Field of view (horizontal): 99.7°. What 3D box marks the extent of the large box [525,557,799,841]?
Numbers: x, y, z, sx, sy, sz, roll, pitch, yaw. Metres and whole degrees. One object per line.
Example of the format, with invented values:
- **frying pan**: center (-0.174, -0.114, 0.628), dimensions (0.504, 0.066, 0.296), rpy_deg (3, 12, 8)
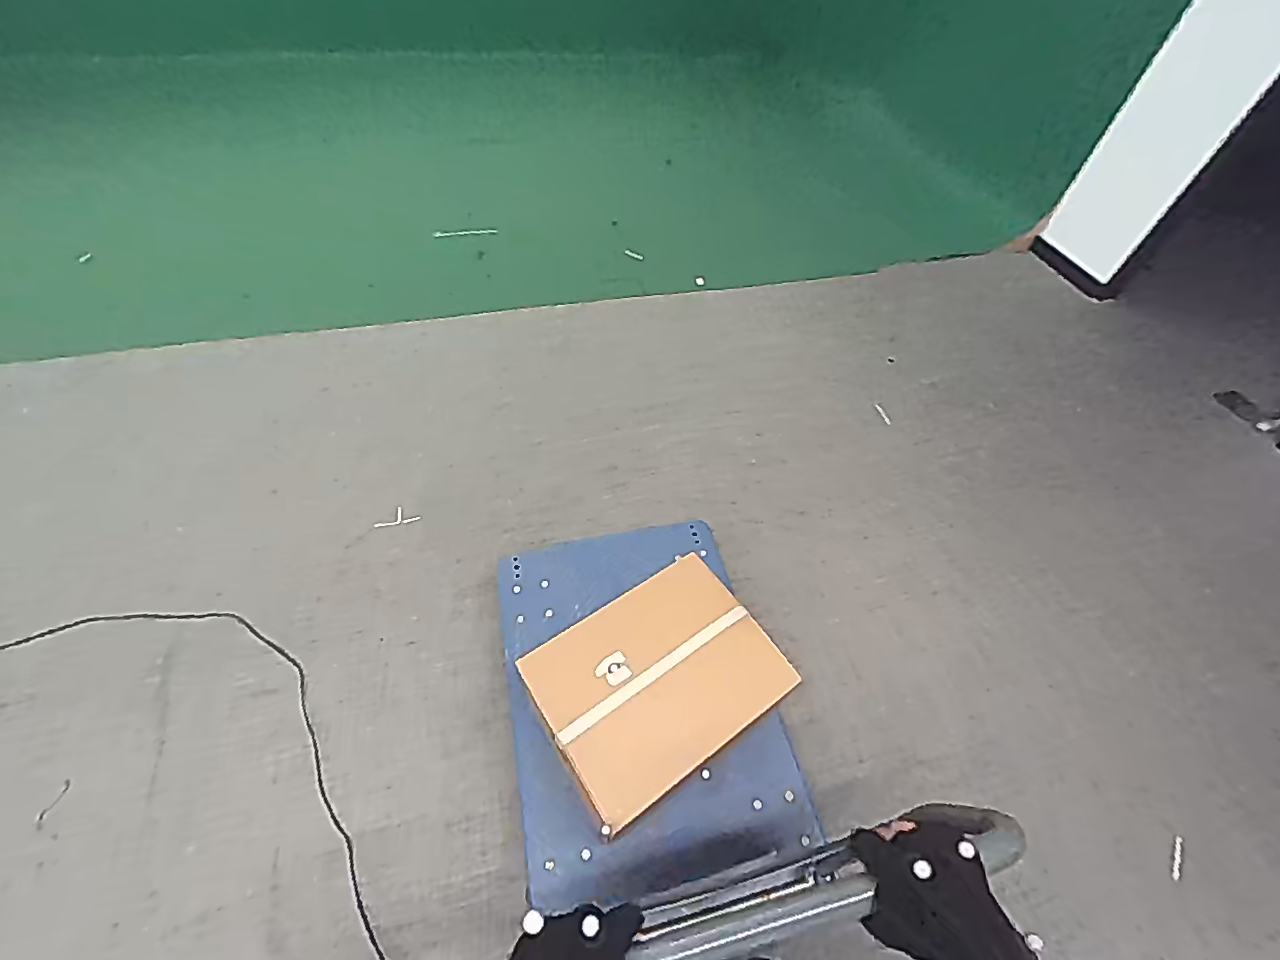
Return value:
- **large box**: center (0.035, 0.432, 1.077), dimensions (0.408, 0.320, 0.320), rpy_deg (-29, 60, -22)
